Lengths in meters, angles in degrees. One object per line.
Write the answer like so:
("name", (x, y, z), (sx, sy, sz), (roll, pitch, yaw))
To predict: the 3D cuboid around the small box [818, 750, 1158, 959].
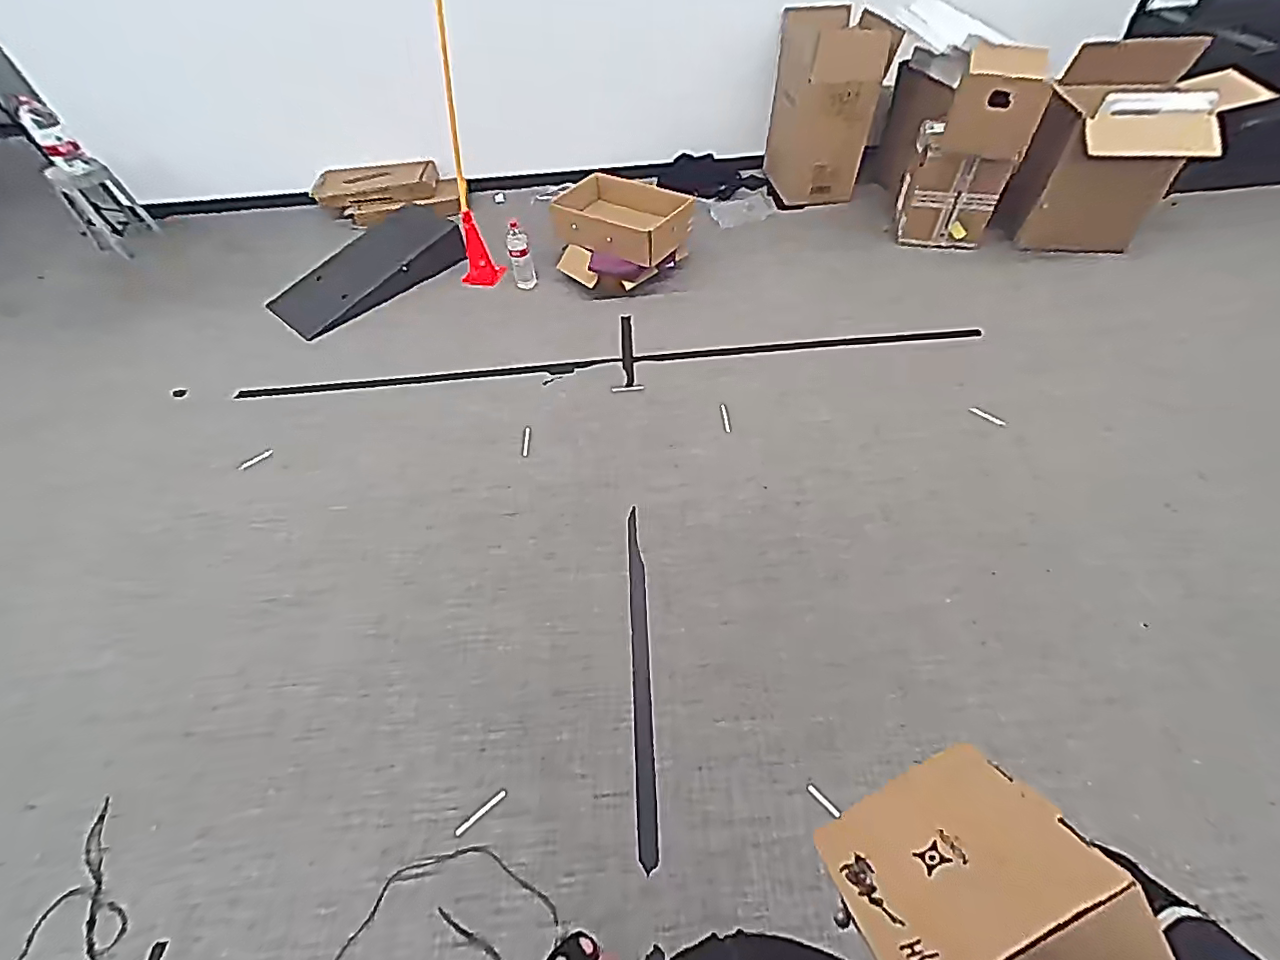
("small box", (0.288, 0.379, 0.451), (0.179, 0.168, 0.176), (-29, 96, -2))
